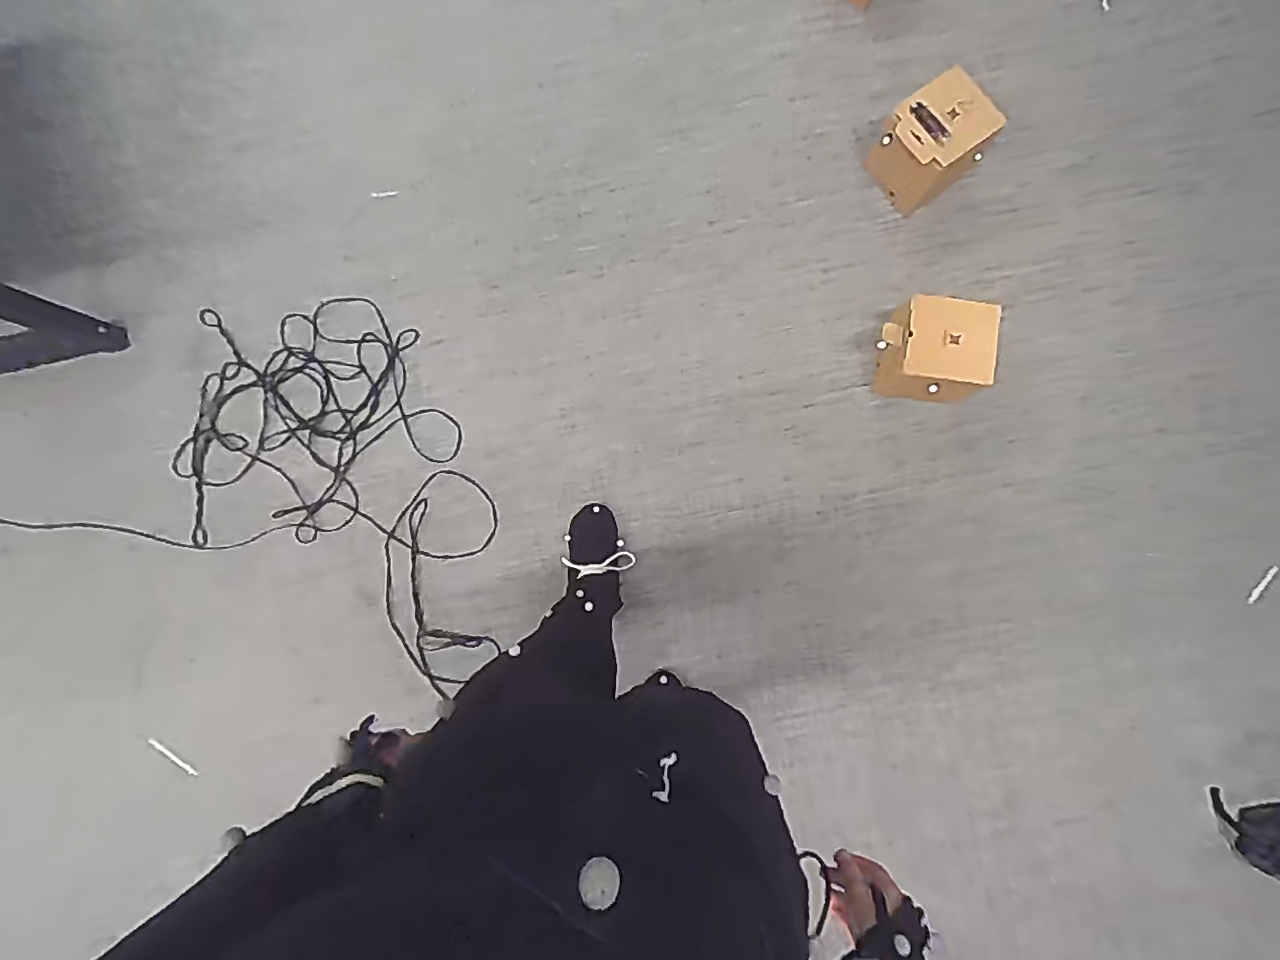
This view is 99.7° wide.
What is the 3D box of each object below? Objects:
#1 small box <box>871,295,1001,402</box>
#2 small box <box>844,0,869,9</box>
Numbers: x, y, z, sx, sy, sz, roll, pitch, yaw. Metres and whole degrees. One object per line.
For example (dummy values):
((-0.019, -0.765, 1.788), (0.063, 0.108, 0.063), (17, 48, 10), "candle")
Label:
((0.615, -0.268, 1.141), (0.179, 0.176, 0.168), (8, 86, 4), "small box")
((0.514, -1.247, 1.233), (0.168, 0.176, 0.179), (35, 86, 4), "small box")
